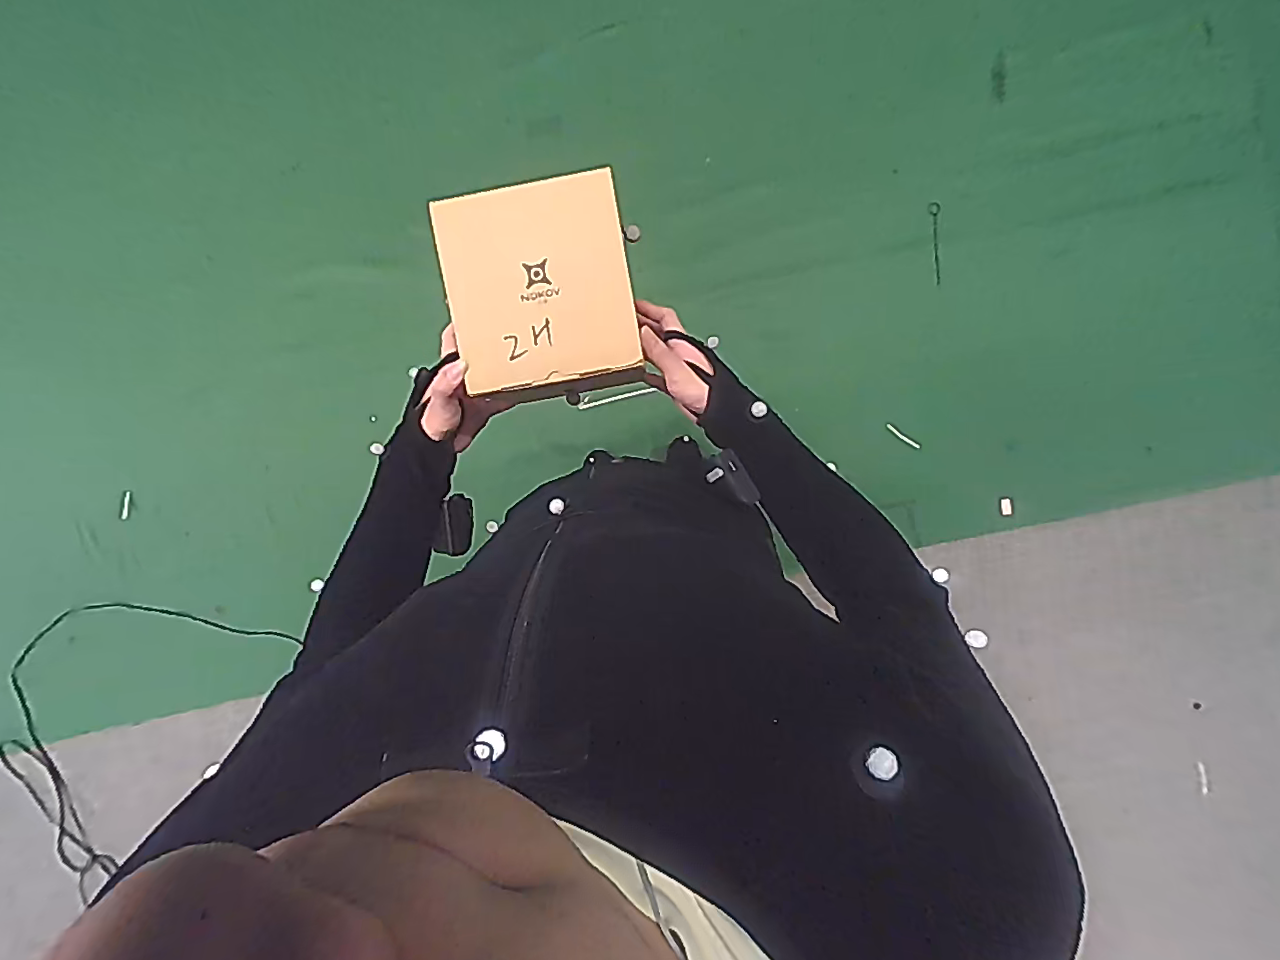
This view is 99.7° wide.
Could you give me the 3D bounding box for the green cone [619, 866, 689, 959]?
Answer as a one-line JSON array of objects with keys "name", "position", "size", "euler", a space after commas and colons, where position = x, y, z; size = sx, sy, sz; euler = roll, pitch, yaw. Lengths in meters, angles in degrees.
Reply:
[{"name": "green cone", "position": [0.038, 1.350, 1.561], "size": [0.202, 0.368, 0.200], "euler": [-11, 93, 3]}]
